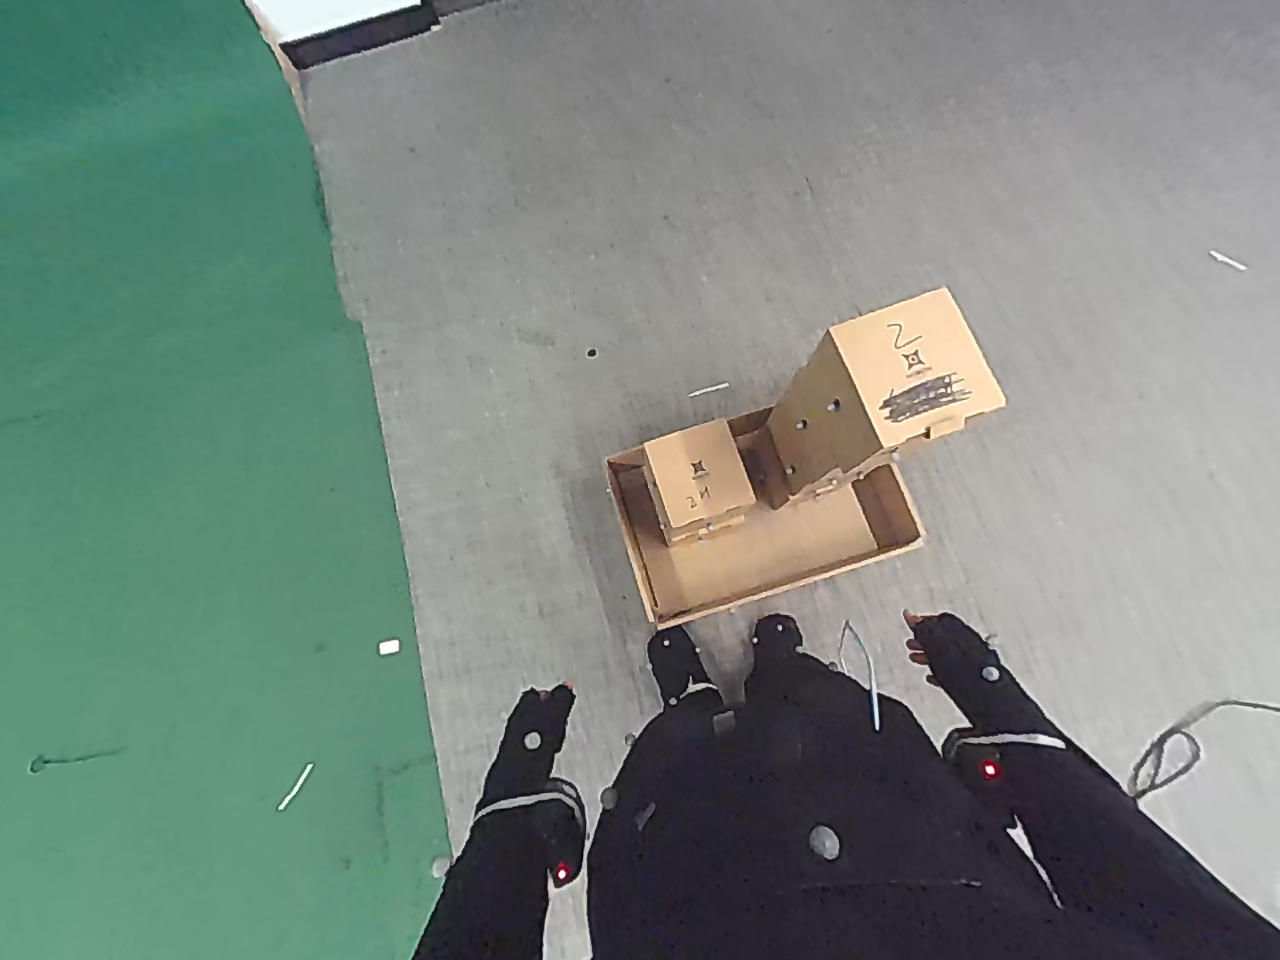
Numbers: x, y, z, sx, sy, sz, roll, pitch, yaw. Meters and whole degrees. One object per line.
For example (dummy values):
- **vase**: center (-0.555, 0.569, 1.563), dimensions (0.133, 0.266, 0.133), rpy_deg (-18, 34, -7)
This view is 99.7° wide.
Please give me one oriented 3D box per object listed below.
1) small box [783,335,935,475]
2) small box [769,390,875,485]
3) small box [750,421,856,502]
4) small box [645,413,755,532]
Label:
- **small box**: center (0.360, -0.116, 0.926), dimensions (0.168, 0.176, 0.179), rpy_deg (-17, 79, 0)
- **small box**: center (0.370, -0.096, 1.072), dimensions (0.168, 0.176, 0.179), rpy_deg (-18, 79, 1)
- **small box**: center (0.369, -0.056, 1.249), dimensions (0.168, 0.176, 0.179), rpy_deg (-22, 78, 1)
- **small box**: center (0.112, -0.008, 1.084), dimensions (0.168, 0.176, 0.179), rpy_deg (-18, 78, -1)
